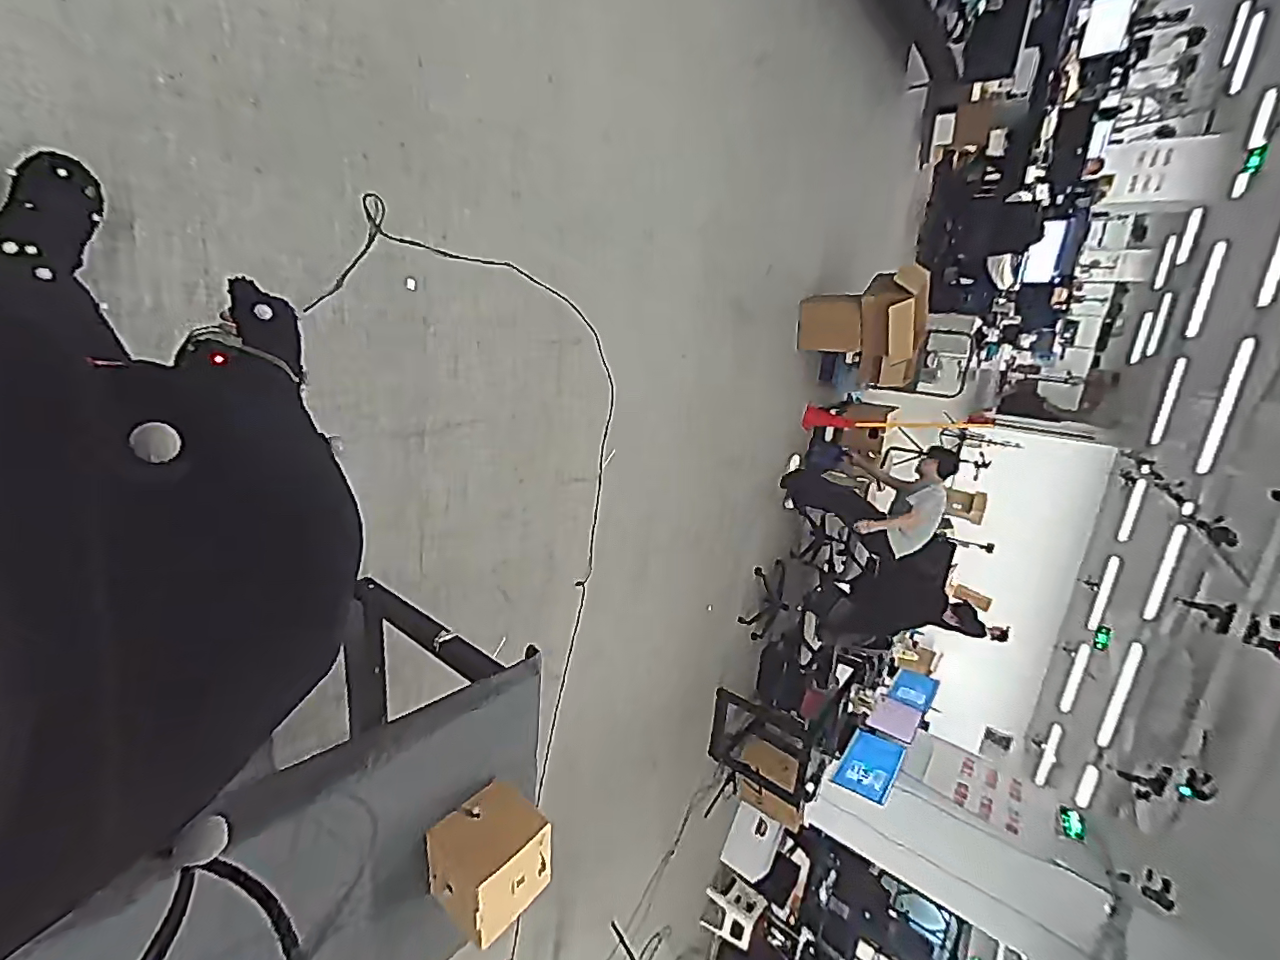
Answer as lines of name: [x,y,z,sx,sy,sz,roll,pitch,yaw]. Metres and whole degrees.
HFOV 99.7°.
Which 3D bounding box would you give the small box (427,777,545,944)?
small box: [-0.312,0.750,1.087,0.179,0.176,0.168,-18,117,-49]
